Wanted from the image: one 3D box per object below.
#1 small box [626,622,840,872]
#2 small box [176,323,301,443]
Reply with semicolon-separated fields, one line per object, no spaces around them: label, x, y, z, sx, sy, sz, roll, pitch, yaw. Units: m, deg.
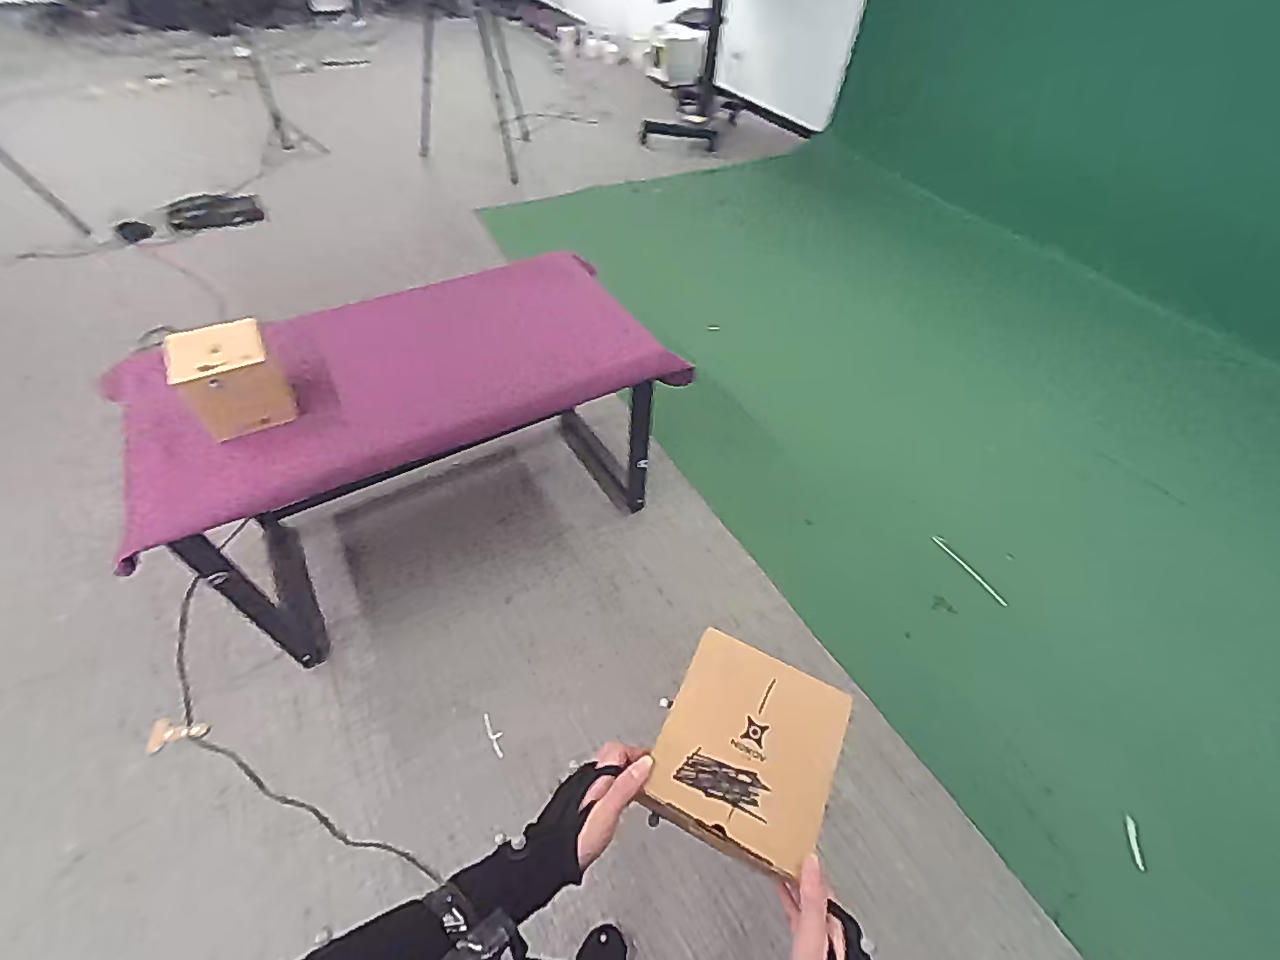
small box;0.095;0.294;0.596;0.168;0.176;0.179;23;57;12
small box;-0.877;-0.213;1.190;0.168;0.176;0.179;-23;54;-22
